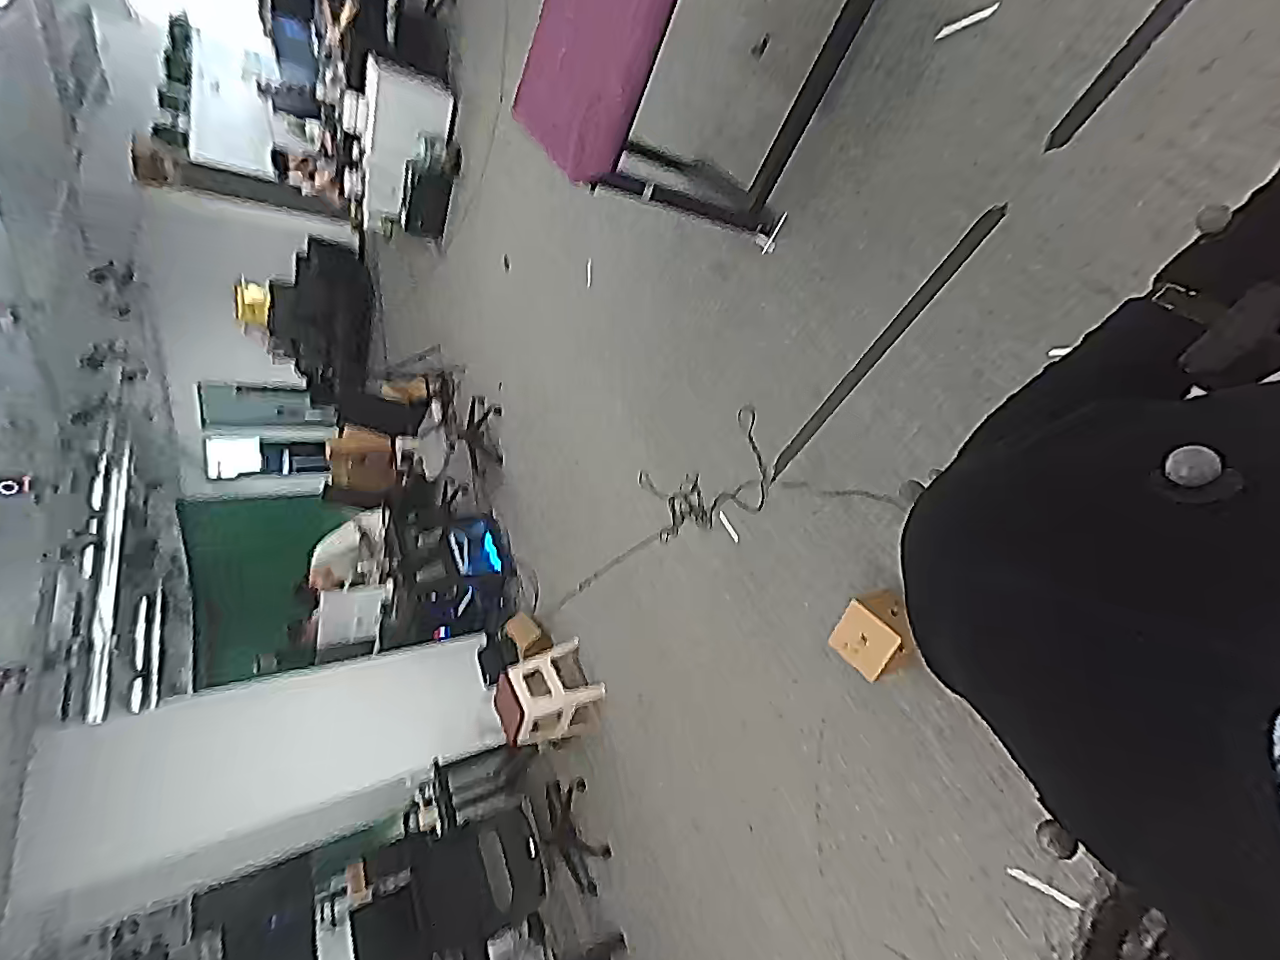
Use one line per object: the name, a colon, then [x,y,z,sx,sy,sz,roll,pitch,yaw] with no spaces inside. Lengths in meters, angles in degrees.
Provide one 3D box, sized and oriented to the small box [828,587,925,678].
small box: [0.689,0.434,1.566,0.168,0.176,0.179,45,128,42]
